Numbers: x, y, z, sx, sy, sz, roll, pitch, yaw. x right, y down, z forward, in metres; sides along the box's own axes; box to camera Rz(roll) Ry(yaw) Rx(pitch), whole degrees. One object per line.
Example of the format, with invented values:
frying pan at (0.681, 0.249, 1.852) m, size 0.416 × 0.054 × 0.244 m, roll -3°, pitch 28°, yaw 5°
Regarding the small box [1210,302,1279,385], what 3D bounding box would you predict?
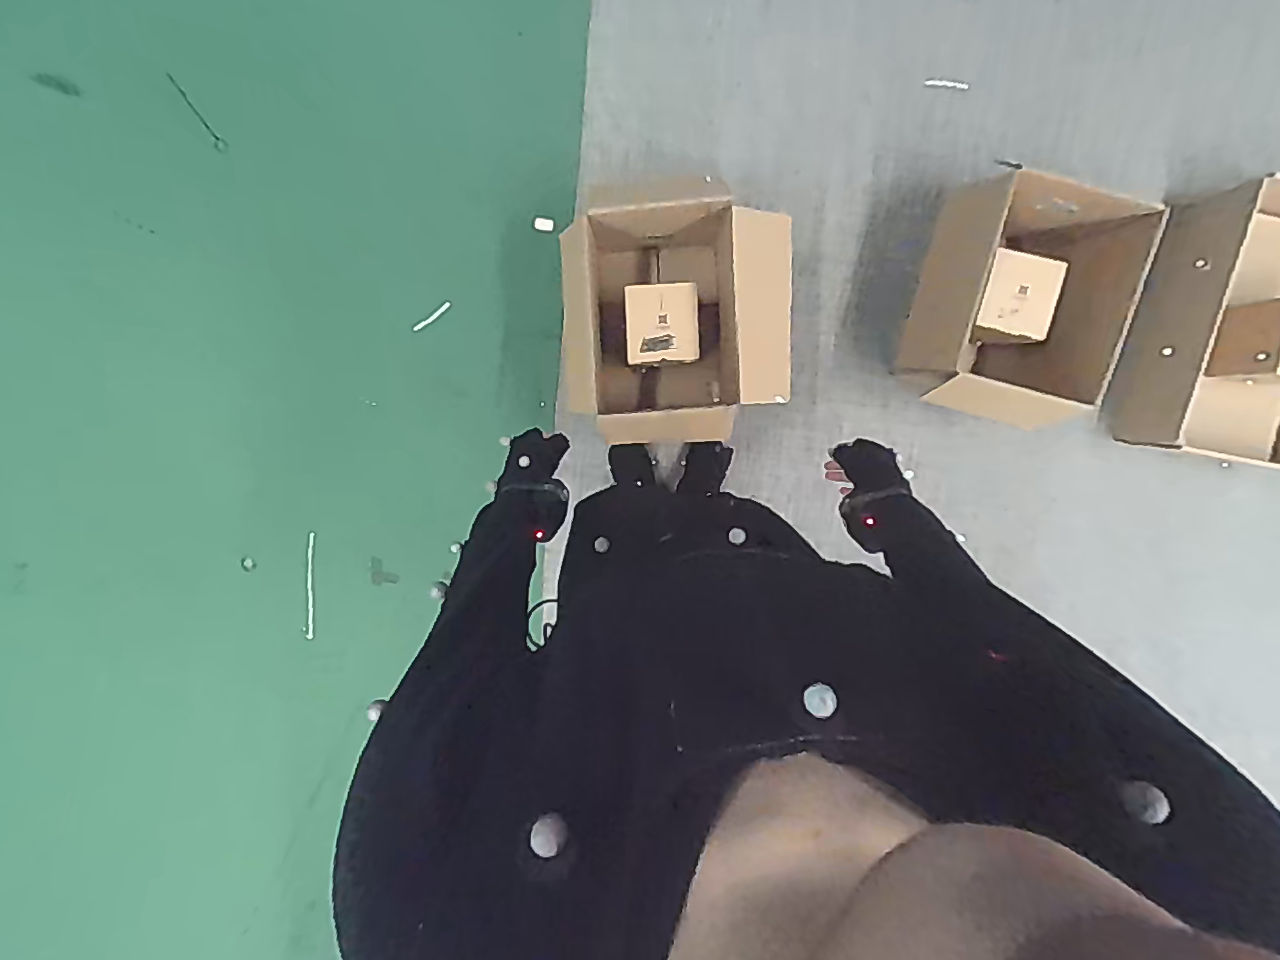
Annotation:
small box at (1.512, -0.321, 1.269) m, size 0.168 × 0.176 × 0.179 m, roll 6°, pitch 98°, yaw -1°
